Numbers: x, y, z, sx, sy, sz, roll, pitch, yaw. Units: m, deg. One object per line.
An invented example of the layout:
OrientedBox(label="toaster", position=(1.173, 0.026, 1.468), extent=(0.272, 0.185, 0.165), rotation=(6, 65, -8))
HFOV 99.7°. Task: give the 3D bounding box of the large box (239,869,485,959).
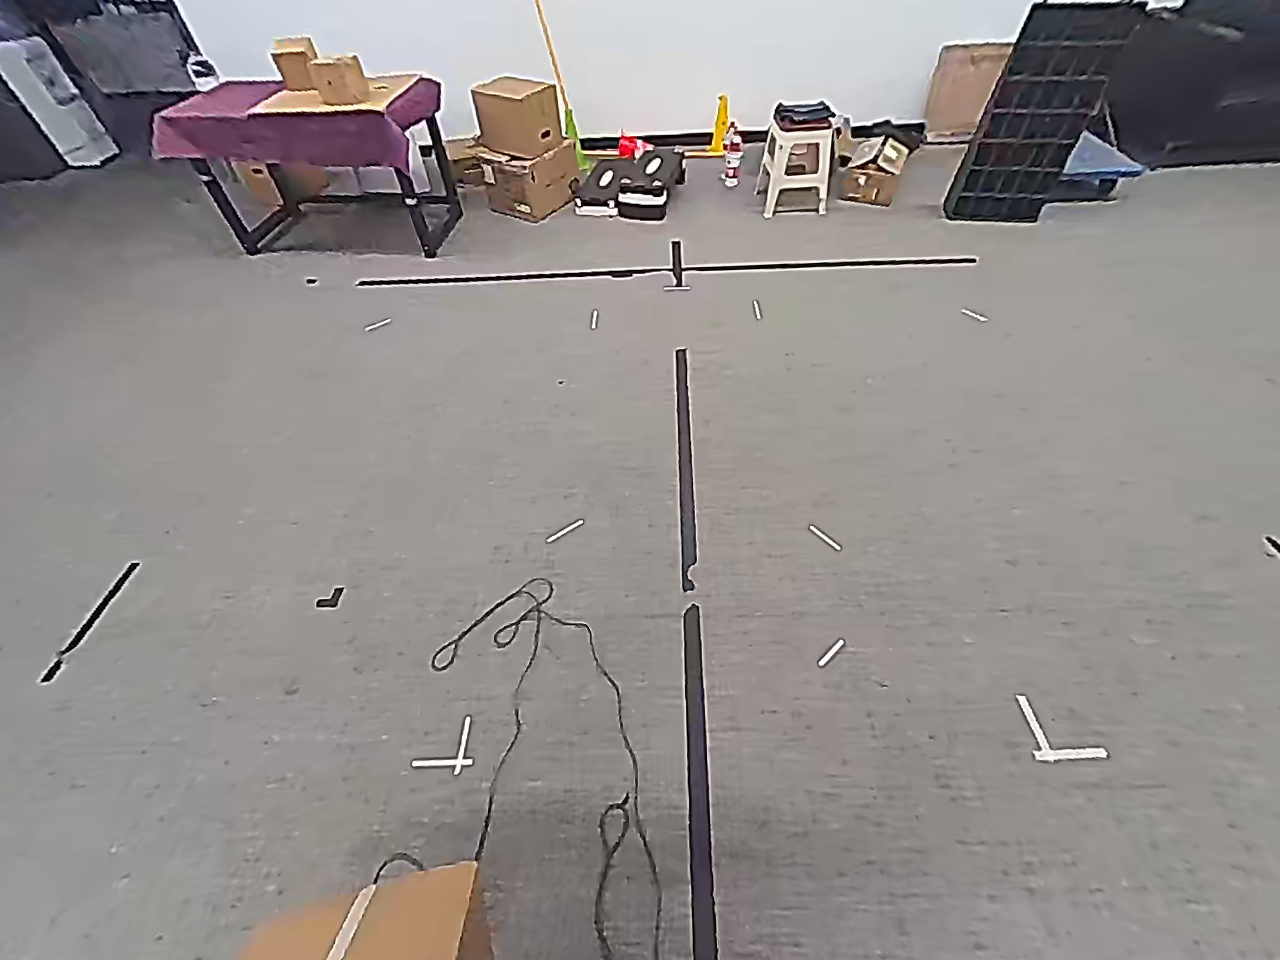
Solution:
OrientedBox(label="large box", position=(-0.349, 0.769, 0.624), extent=(0.320, 0.408, 0.320), rotation=(-10, 89, -10))
